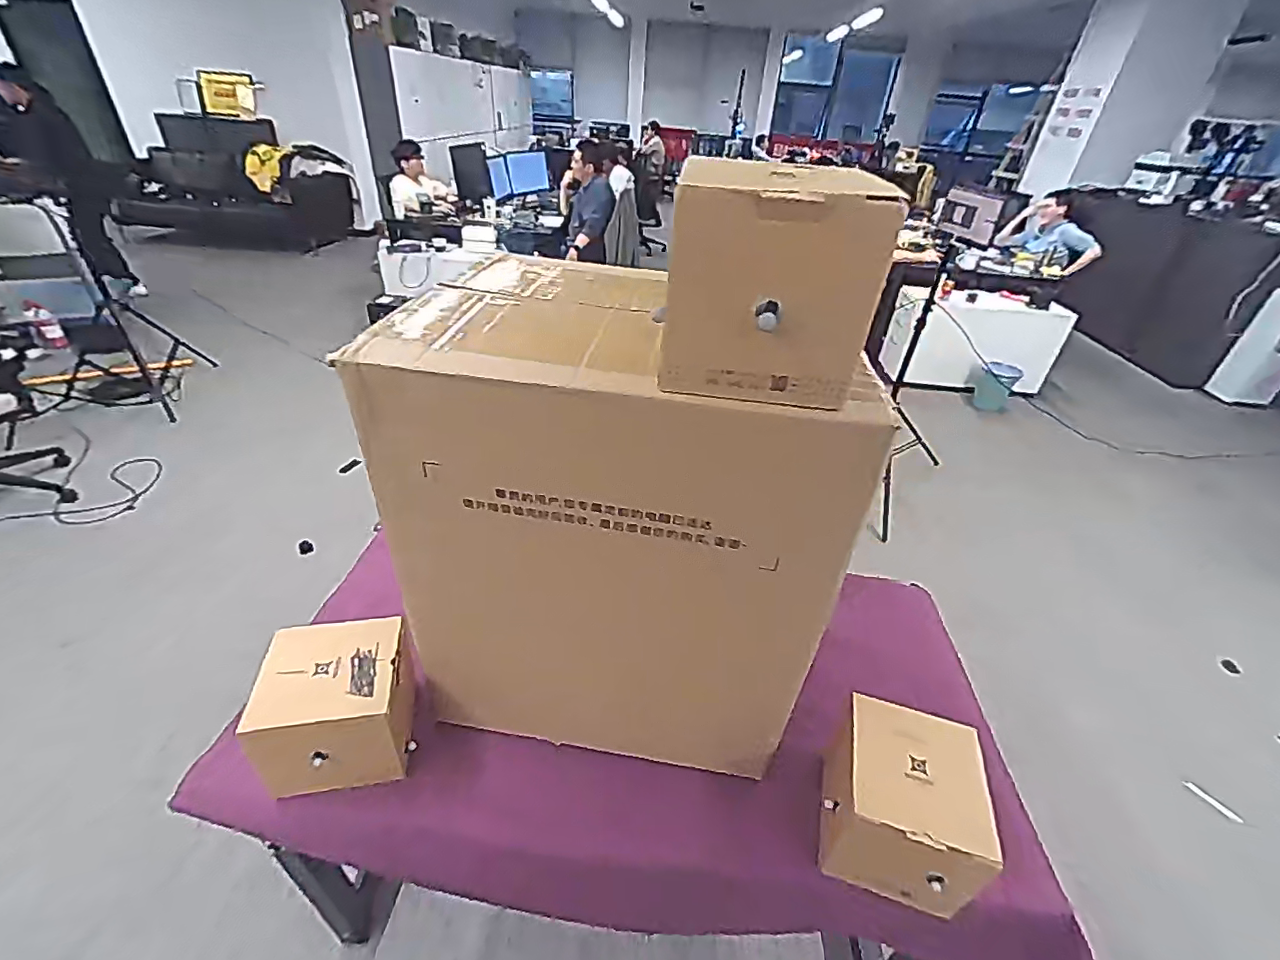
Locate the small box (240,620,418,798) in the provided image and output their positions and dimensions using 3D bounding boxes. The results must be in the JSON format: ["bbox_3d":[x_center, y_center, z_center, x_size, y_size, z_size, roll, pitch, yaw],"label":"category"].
[{"bbox_3d":[-0.430,0.329,0.788,0.179,0.176,0.168,-3,35,-13],"label":"small box"}]

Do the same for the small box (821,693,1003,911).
[{"bbox_3d":[0.350,0.433,0.732,0.168,0.176,0.179,13,34,12],"label":"small box"}]

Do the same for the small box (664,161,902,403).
[{"bbox_3d":[0.113,-0.185,0.501,0.168,0.176,0.179,6,37,4],"label":"small box"}]
